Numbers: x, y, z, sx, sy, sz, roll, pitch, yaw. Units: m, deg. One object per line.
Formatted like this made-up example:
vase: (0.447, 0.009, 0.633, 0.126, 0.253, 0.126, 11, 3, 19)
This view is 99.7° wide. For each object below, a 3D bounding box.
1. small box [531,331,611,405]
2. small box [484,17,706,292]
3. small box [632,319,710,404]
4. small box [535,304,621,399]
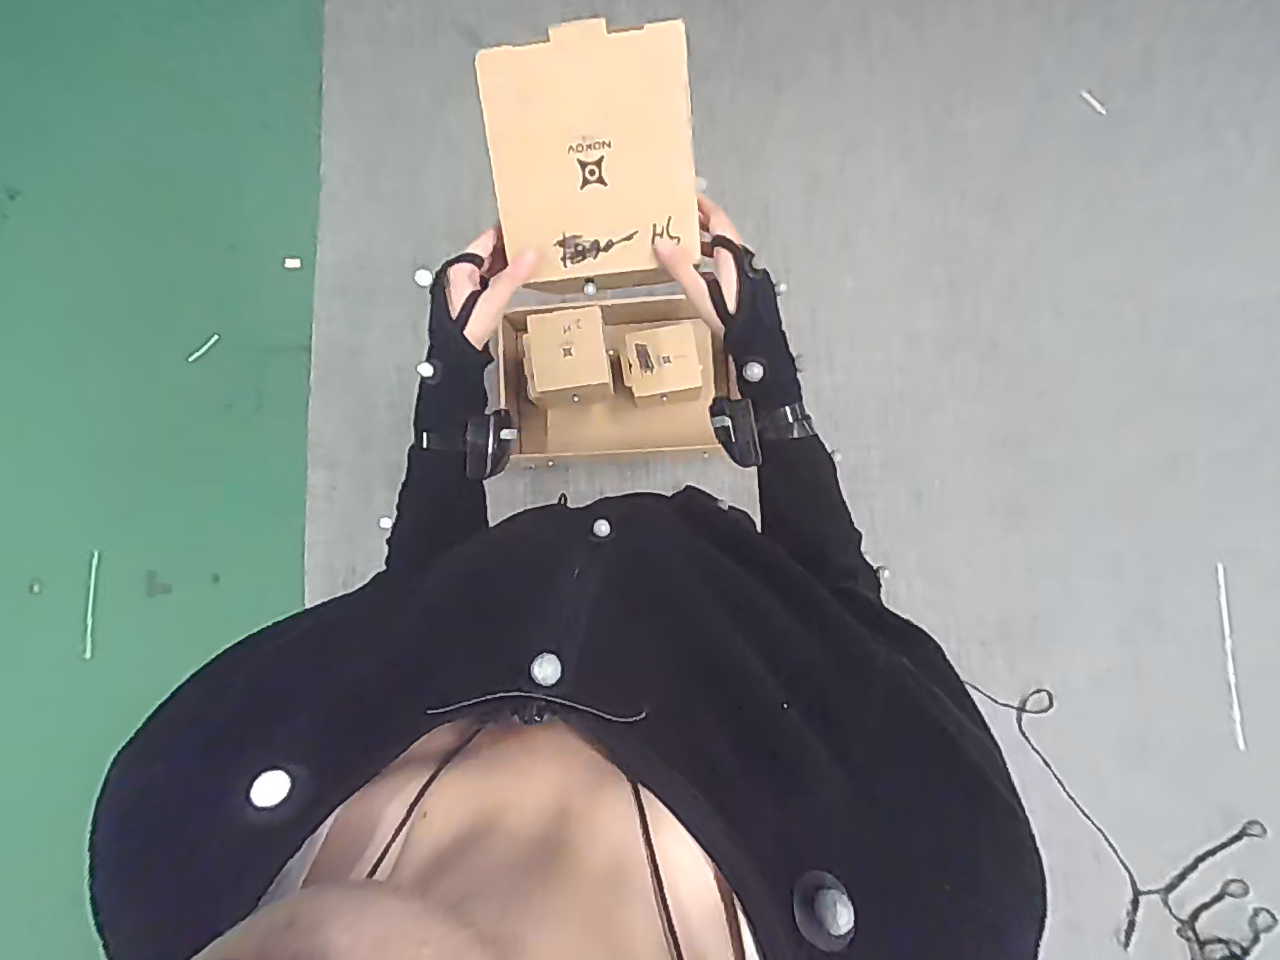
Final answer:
small box: (-0.179, -0.299, 1.441, 0.179, 0.176, 0.168, -6, 88, 2)
small box: (-0.029, -0.283, 0.514, 0.168, 0.176, 0.179, -5, 106, 6)
small box: (0.084, -0.304, 1.422, 0.179, 0.176, 0.168, -9, 87, 4)
small box: (-0.139, -0.293, 1.275, 0.168, 0.176, 0.179, -8, 88, 1)
